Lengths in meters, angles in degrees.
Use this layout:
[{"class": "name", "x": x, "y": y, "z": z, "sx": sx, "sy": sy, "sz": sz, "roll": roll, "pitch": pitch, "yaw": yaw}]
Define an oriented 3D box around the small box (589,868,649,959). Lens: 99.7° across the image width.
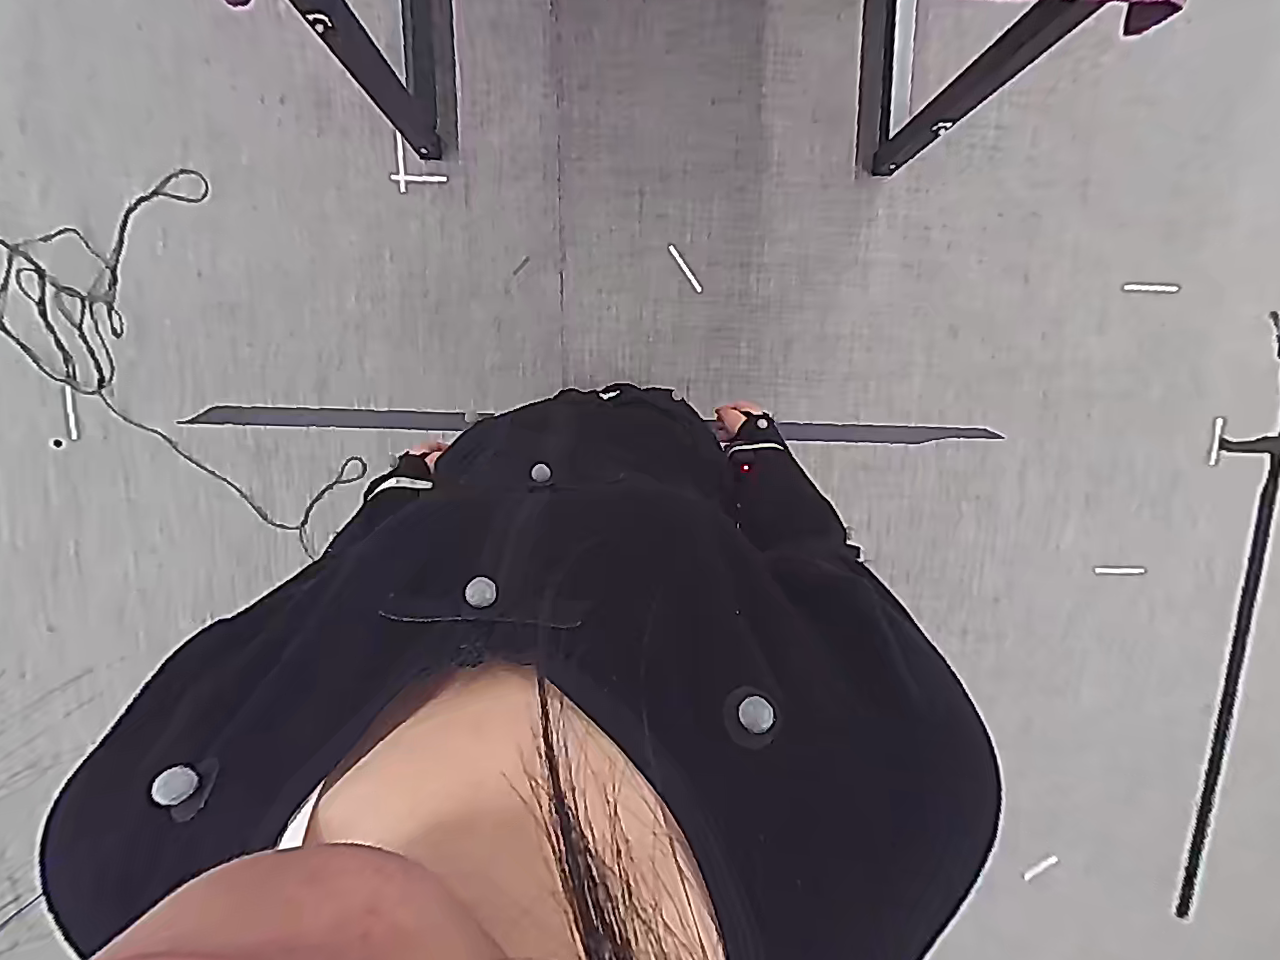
[{"class": "small box", "x": -0.063, "y": 1.301, "z": 1.615, "sx": 0.168, "sy": 0.176, "sz": 0.179, "roll": 3, "pitch": 100, "yaw": -2}]
